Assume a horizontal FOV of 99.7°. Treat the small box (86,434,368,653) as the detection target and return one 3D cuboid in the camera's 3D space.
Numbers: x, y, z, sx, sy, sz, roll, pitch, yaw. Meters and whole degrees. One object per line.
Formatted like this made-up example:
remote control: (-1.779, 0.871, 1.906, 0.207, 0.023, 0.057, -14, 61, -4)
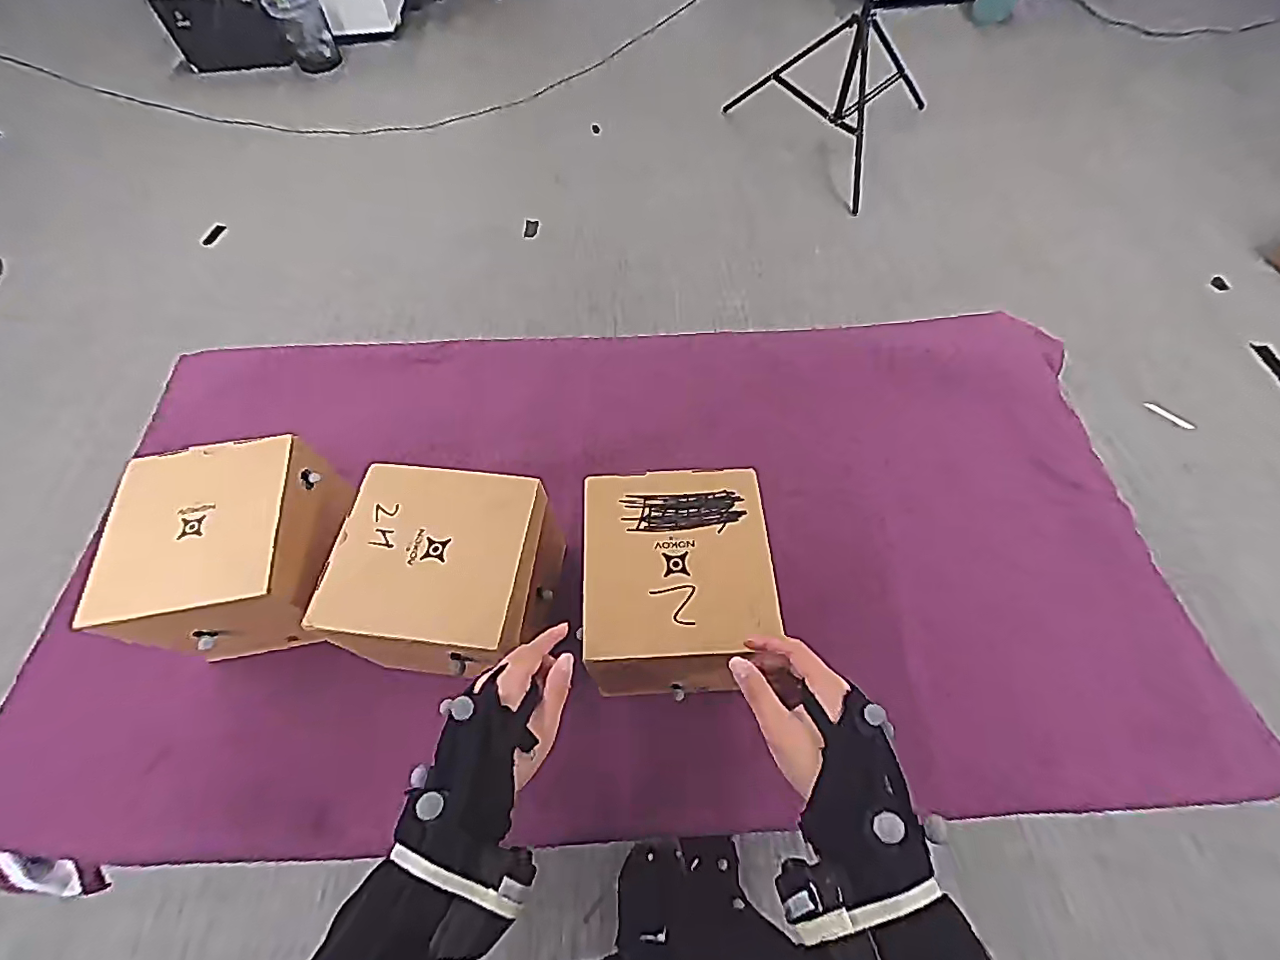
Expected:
small box: (-0.417, 0.079, 0.585, 0.168, 0.176, 0.179, -11, 61, -4)
